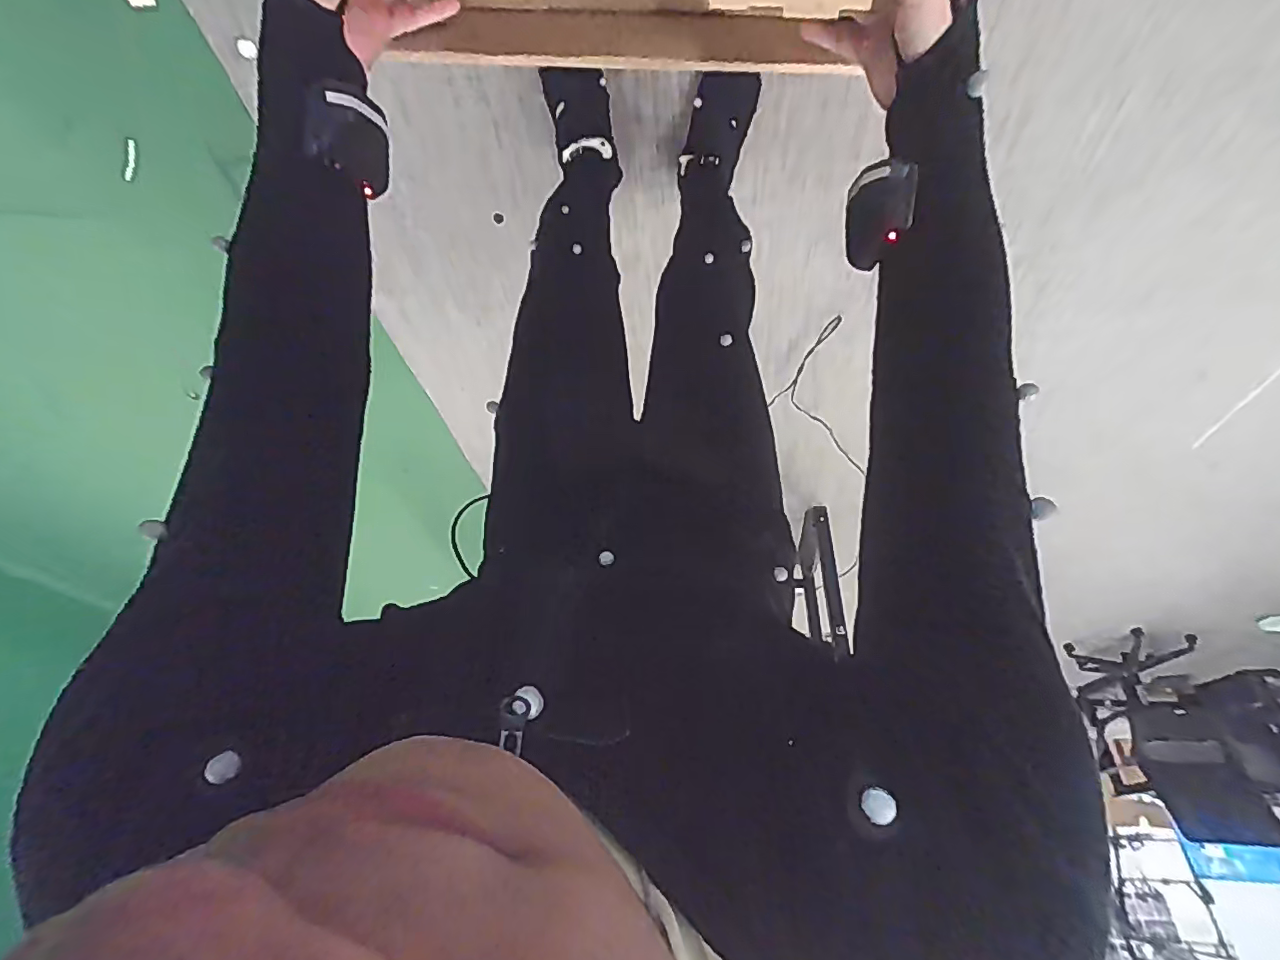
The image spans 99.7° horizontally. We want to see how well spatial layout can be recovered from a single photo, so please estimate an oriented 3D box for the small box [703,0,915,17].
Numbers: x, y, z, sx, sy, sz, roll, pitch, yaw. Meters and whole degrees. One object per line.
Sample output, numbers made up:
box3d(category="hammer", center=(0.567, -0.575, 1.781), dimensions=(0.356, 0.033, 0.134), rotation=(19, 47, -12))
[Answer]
box3d(category="small box", center=(0.135, -0.479, 0.396), dimensions=(0.168, 0.176, 0.179), rotation=(2, 144, 0))
